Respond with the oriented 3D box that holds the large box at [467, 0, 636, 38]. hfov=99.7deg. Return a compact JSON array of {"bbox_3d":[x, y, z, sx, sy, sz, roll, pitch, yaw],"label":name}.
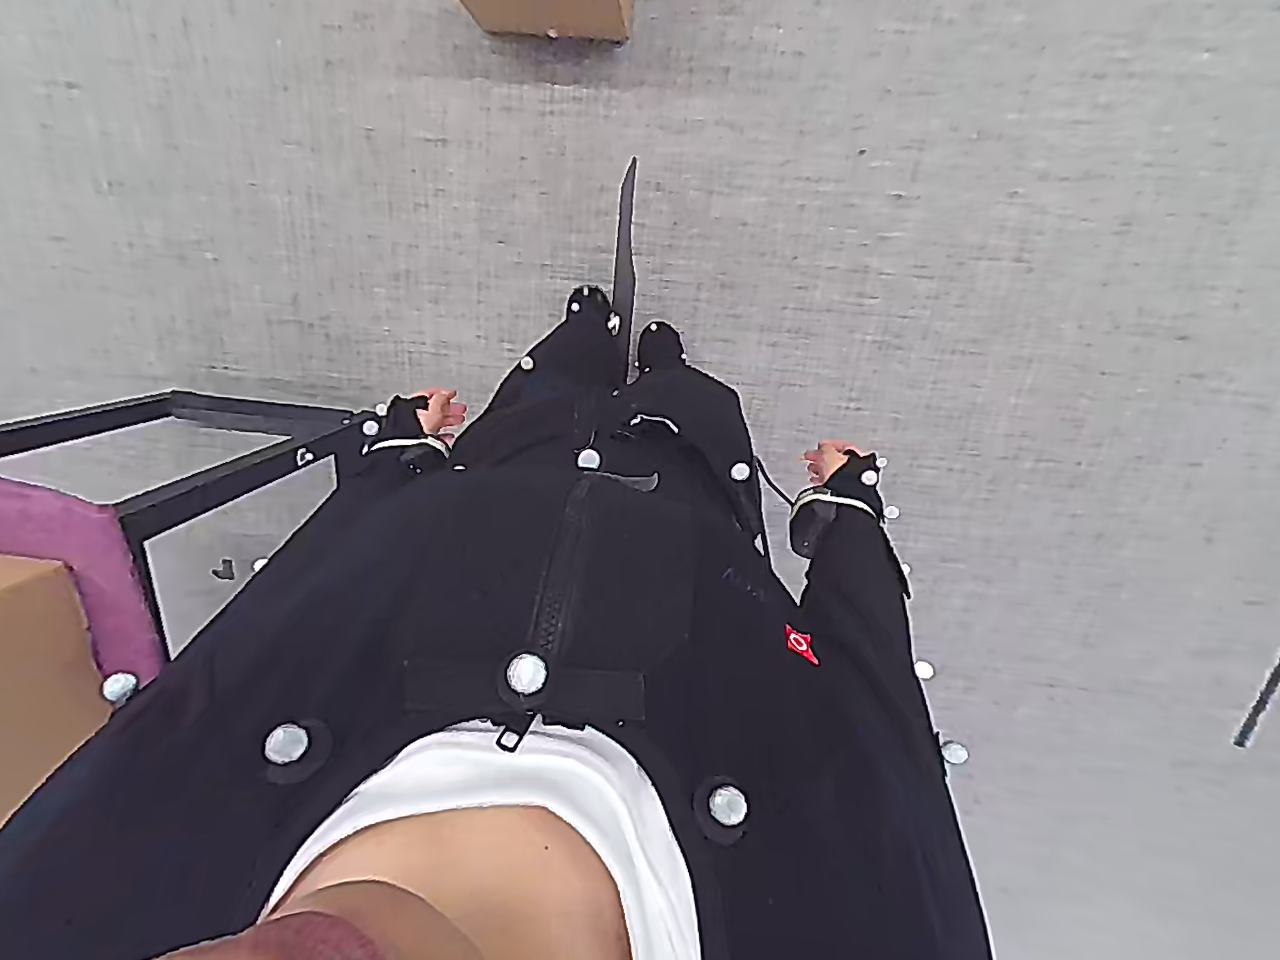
[{"bbox_3d":[-0.161,-1.045,0.898,0.320,0.320,0.408,5,110,4],"label":"large box"}]
